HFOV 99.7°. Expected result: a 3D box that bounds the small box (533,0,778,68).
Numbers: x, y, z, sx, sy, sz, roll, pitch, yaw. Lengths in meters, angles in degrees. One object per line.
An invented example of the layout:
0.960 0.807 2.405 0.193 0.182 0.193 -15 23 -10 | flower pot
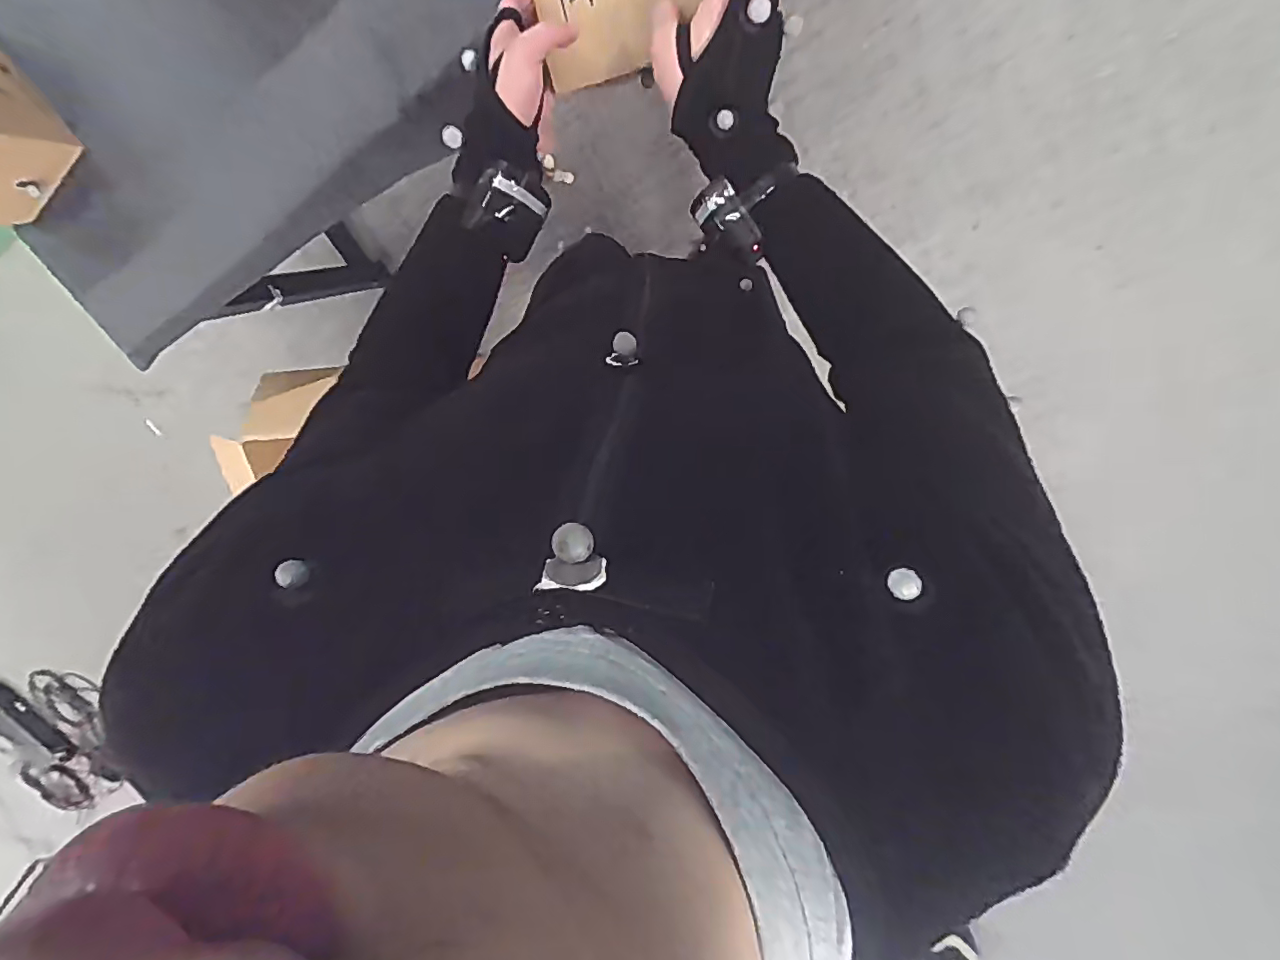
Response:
0.012 -0.465 0.452 0.179 0.176 0.168 3 128 23 | small box

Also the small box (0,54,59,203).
-0.891 -0.466 0.660 0.179 0.176 0.168 -30 108 19 | small box
